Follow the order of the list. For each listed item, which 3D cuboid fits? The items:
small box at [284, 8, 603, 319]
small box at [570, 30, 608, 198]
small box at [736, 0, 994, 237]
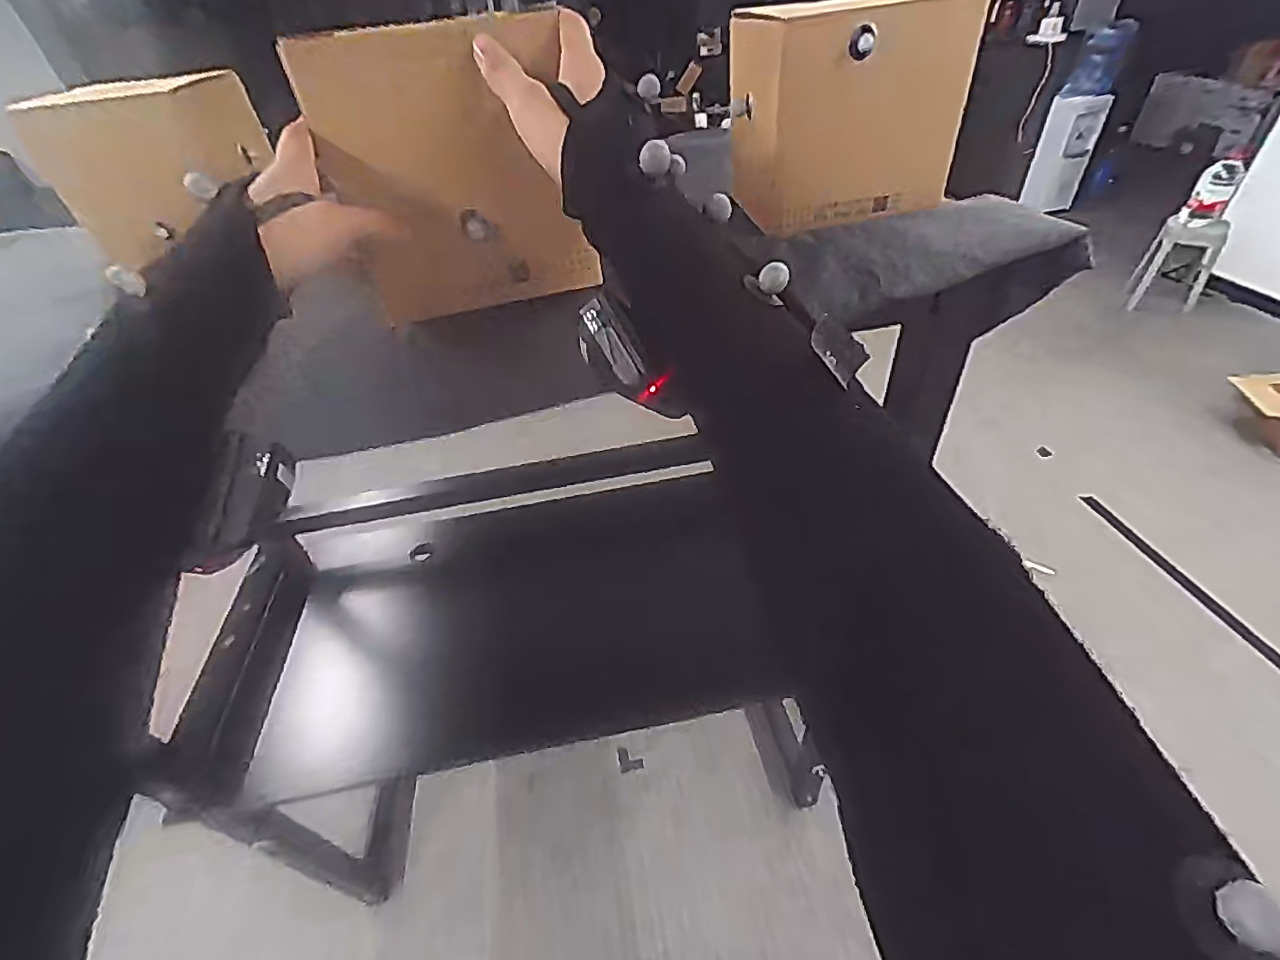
[{"bbox_3d":[-0.133,-0.240,0.426,0.168,0.176,0.179,-14,35,-8],"label":"small box"},{"bbox_3d":[-0.137,-0.454,0.689,0.179,0.176,0.168,-9,41,-3],"label":"small box"},{"bbox_3d":[0.191,-0.353,0.528,0.168,0.176,0.179,-8,41,0],"label":"small box"}]
